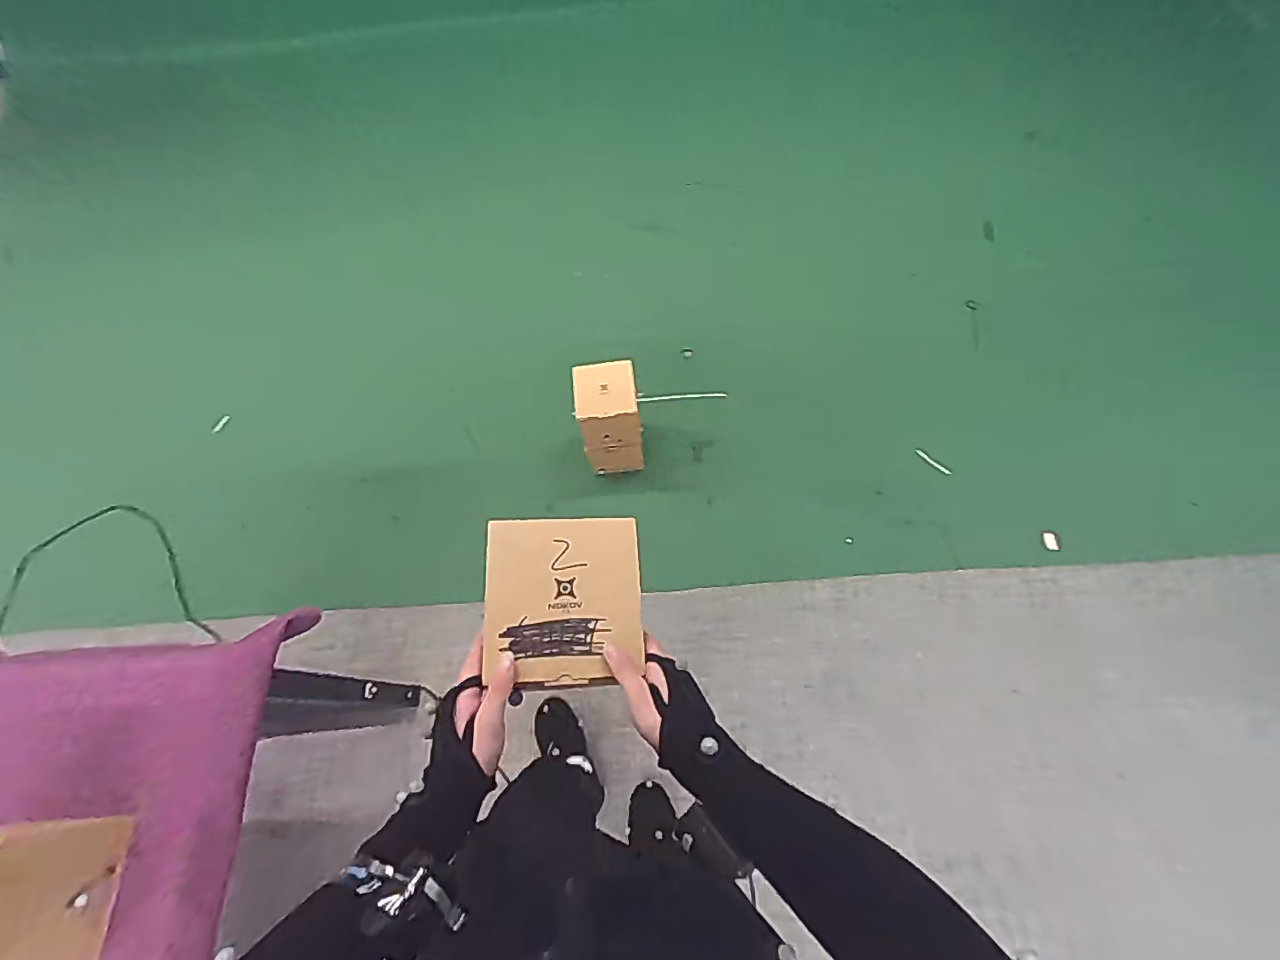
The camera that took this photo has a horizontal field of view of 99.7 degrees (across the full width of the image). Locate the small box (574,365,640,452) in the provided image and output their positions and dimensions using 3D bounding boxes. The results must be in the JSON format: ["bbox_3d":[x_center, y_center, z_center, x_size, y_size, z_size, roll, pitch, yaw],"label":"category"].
[{"bbox_3d":[-0.092,-0.202,1.543,0.168,0.176,0.179,-7,65,0],"label":"small box"}]

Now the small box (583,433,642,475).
[{"bbox_3d":[-0.084,-0.126,1.686,0.168,0.176,0.179,-6,64,1],"label":"small box"}]

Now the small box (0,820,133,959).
[{"bbox_3d":[-0.776,0.512,0.637,0.179,0.176,0.168,-5,66,3],"label":"small box"}]
